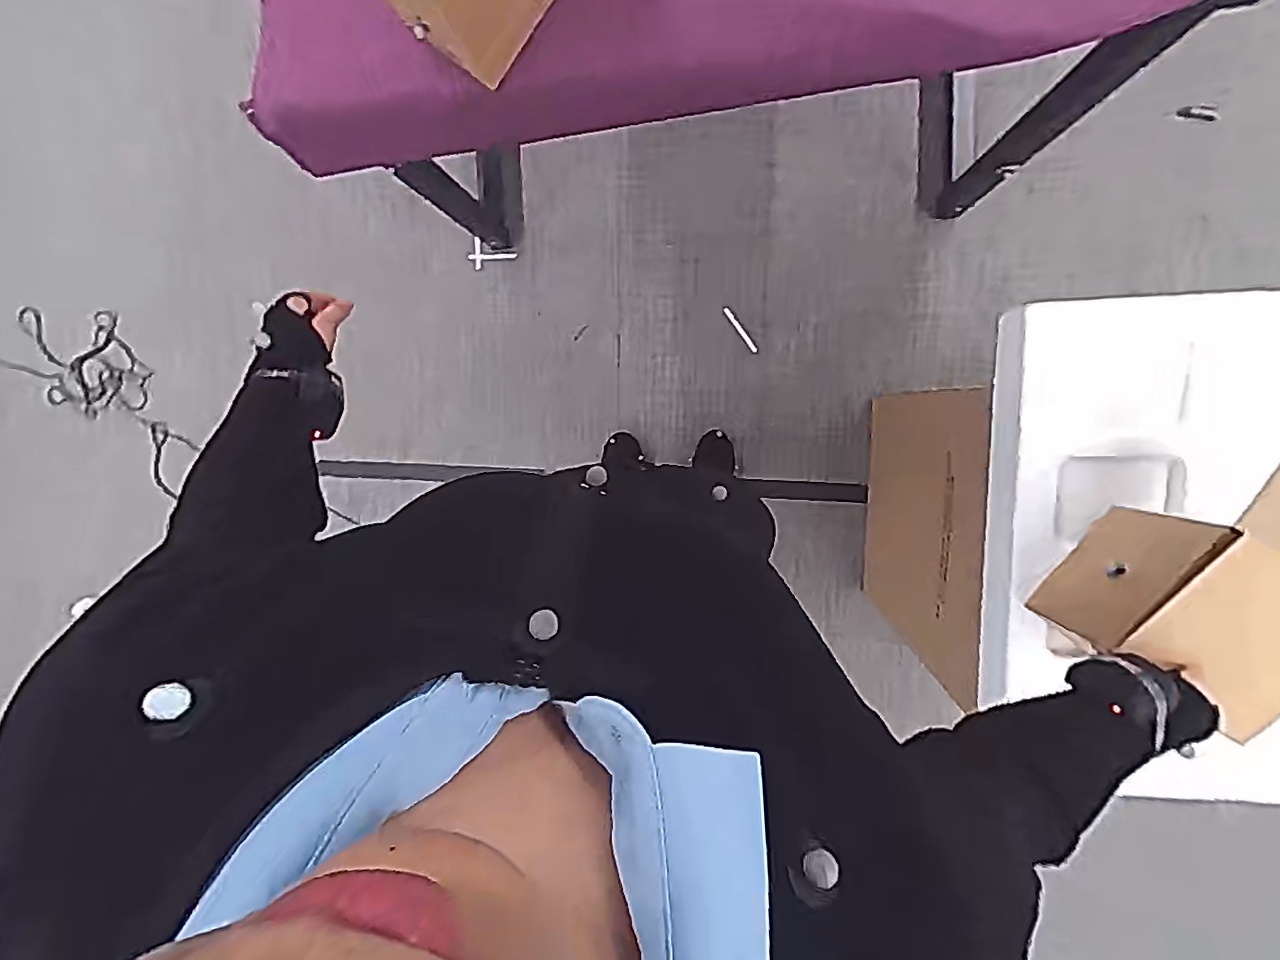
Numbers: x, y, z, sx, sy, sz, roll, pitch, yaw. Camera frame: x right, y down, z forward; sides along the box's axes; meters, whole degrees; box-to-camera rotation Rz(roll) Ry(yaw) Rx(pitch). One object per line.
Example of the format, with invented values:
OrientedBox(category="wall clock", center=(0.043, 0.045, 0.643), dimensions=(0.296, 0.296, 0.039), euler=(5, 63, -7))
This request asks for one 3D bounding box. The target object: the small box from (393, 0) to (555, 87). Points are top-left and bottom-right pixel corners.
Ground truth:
OrientedBox(category="small box", center=(-0.209, -0.620, 0.624), dimensions=(0.168, 0.176, 0.179), euler=(40, 99, 3))
